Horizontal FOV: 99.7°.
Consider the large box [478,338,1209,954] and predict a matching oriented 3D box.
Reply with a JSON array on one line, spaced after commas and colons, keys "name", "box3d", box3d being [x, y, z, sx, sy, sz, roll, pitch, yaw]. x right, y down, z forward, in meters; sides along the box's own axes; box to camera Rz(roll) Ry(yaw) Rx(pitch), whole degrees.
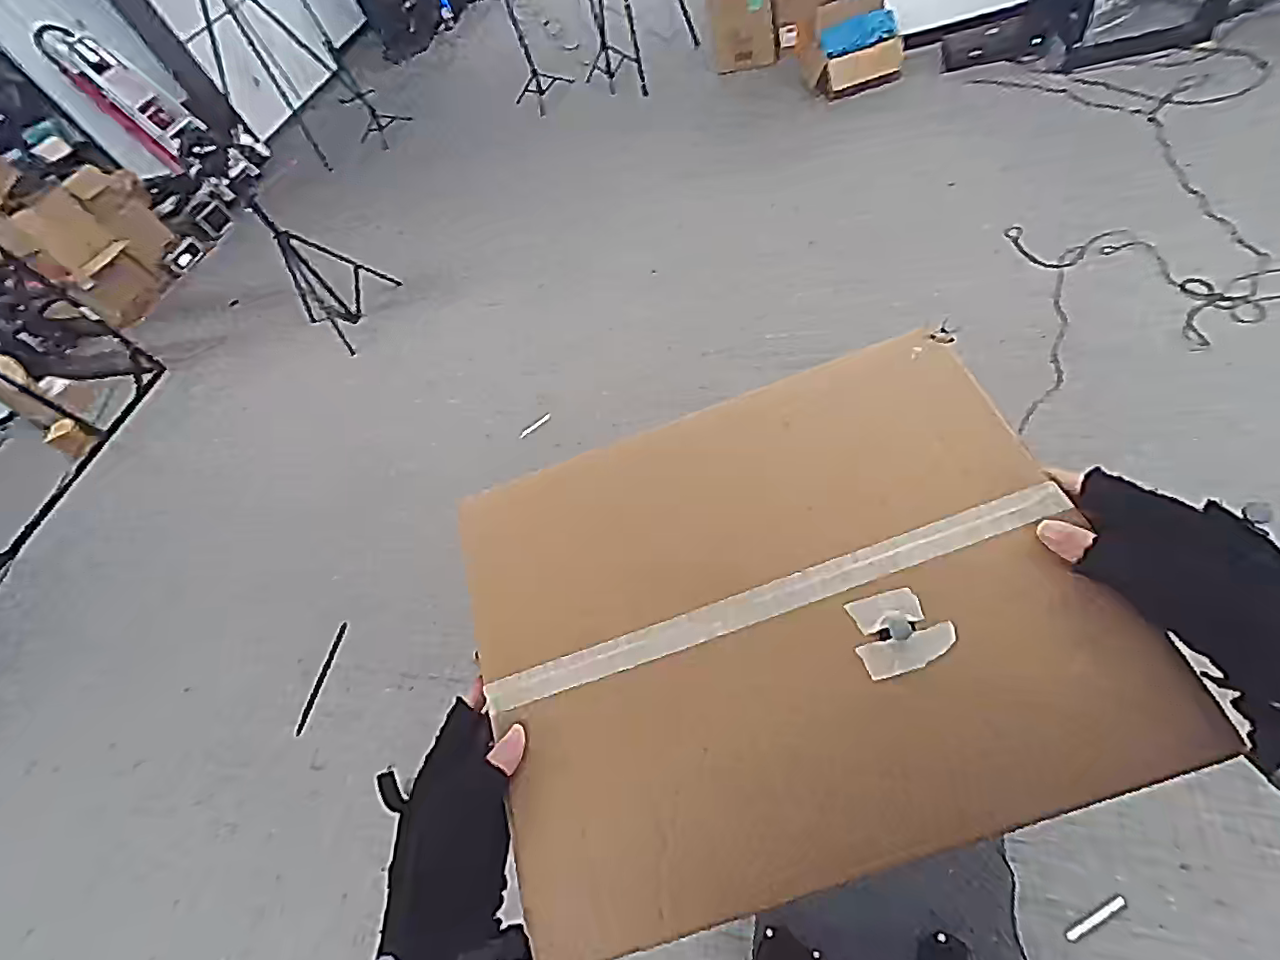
[{"name": "large box", "box3d": [0.120, 0.142, 0.509, 0.408, 0.320, 0.320, -20, 65, 2]}]
